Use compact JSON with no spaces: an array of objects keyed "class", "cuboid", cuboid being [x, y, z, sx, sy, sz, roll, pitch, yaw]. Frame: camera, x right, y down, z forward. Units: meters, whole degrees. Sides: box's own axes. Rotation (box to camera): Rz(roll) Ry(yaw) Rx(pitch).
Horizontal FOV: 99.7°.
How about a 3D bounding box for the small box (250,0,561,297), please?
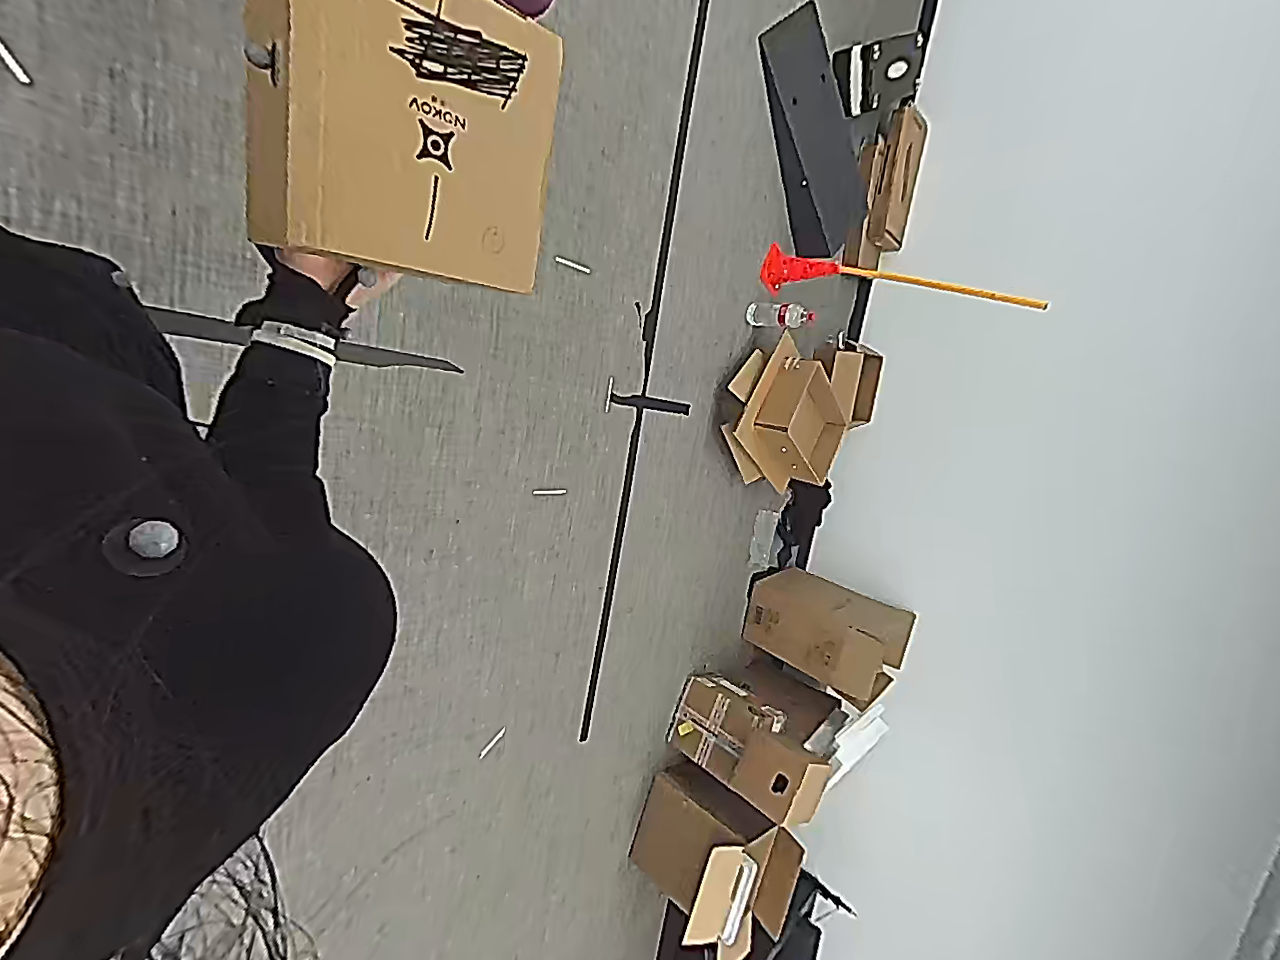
[{"class":"small box","cuboid":[-0.184,-0.250,0.410,0.168,0.176,0.179,-3,111,-42]}]
